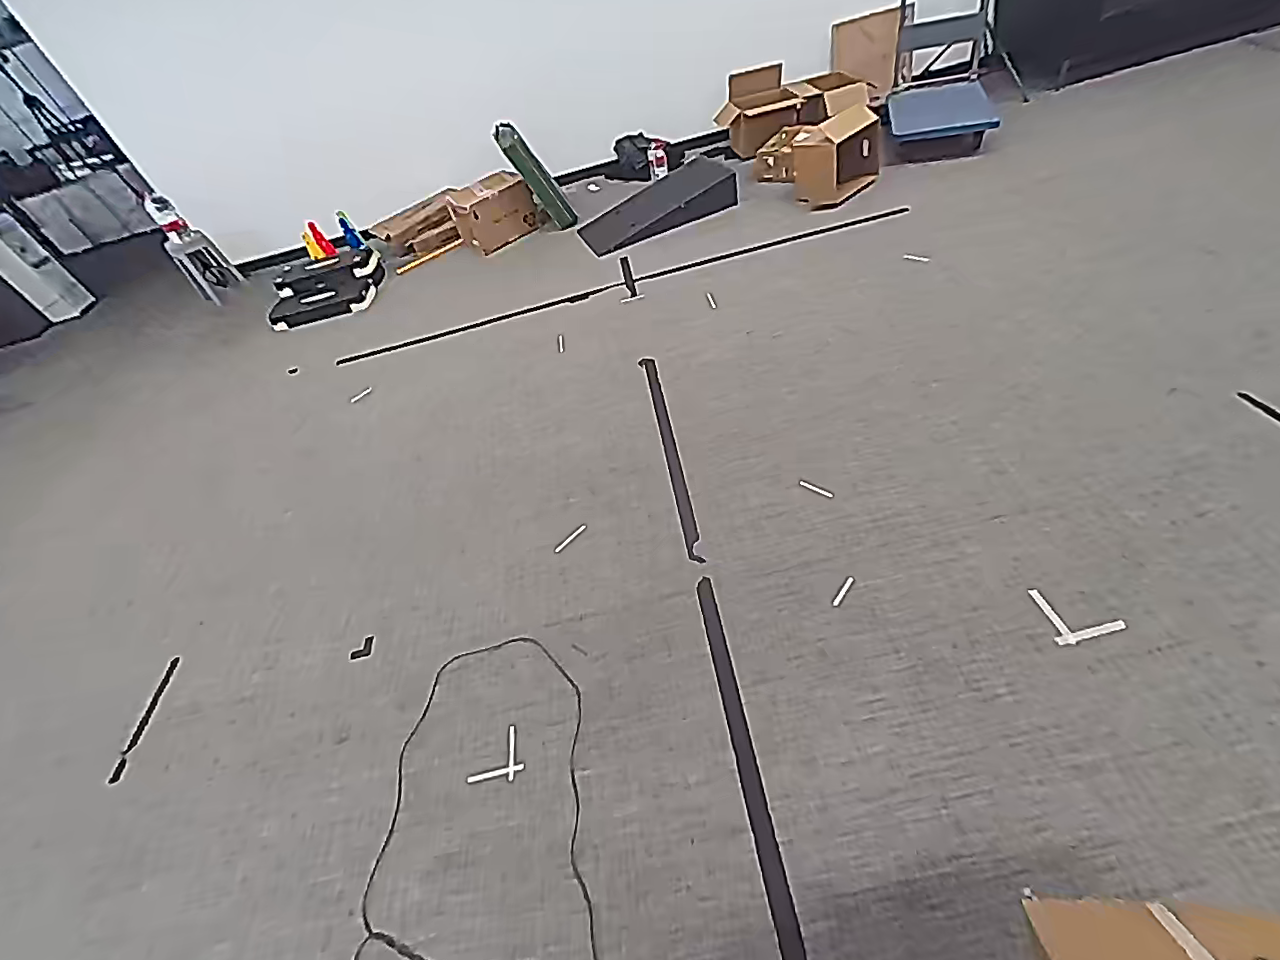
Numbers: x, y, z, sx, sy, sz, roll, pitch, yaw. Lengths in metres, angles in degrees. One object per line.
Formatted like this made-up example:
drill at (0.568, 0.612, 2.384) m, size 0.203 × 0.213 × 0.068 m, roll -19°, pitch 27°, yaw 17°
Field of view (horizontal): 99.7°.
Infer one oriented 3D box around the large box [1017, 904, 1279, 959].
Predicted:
large box at (0.644, 0.709, 0.522) m, size 0.320 × 0.408 × 0.320 m, roll -9°, pitch 81°, yaw 17°
